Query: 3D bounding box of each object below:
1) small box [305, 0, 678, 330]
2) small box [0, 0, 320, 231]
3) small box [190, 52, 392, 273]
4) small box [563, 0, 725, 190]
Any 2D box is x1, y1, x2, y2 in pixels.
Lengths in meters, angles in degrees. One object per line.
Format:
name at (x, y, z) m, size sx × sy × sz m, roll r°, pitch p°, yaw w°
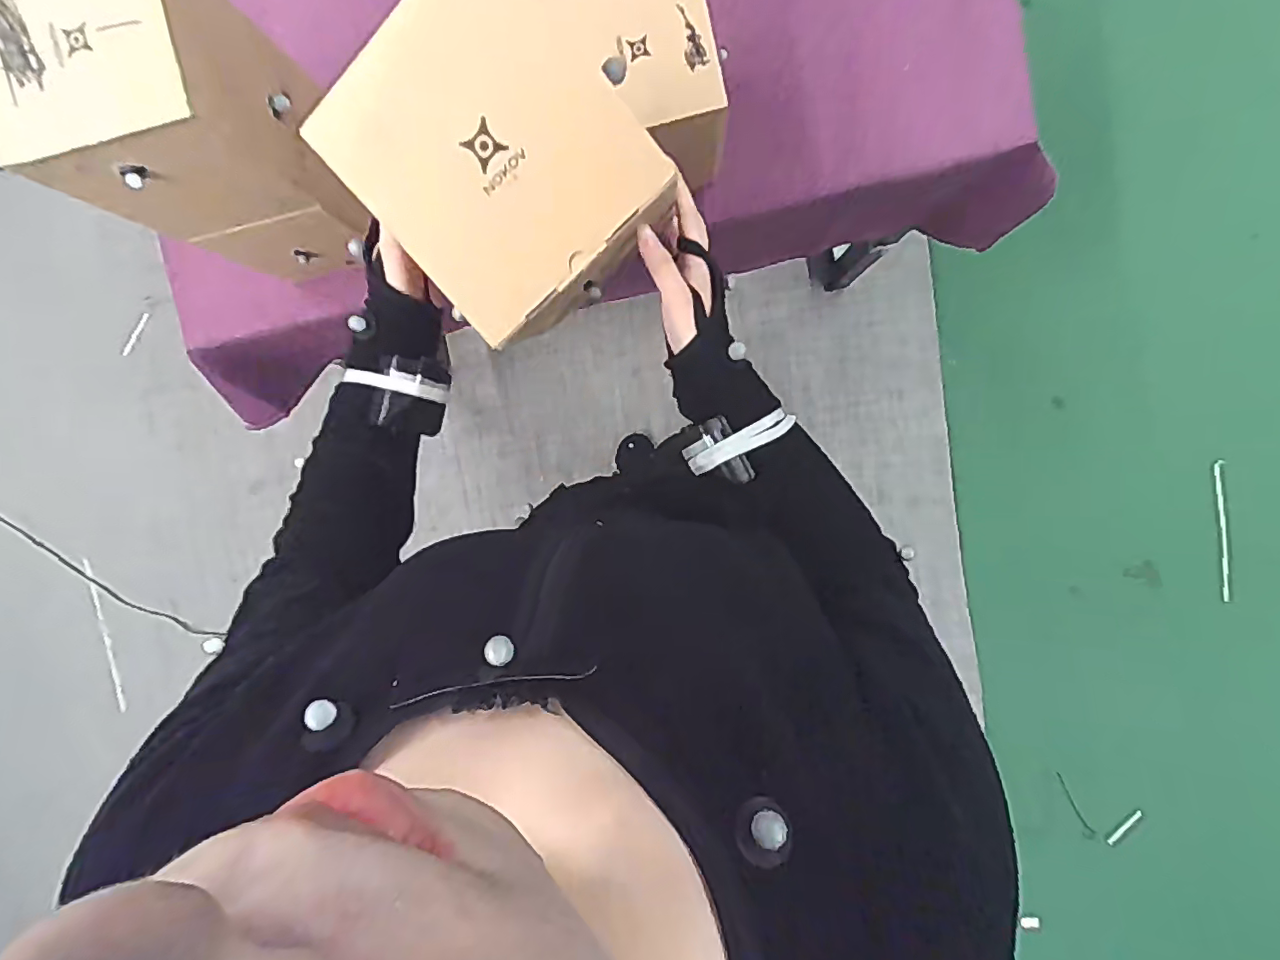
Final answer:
small box at (-0.090, -0.236, 0.410) m, size 0.168 × 0.176 × 0.179 m, roll -38°, pitch 104°, yaw 14°
small box at (-0.454, -0.363, 0.518) m, size 0.179 × 0.176 × 0.168 m, roll -12°, pitch 94°, yaw 4°
small box at (-0.442, -0.378, 0.682) m, size 0.168 × 0.176 × 0.179 m, roll -11°, pitch 93°, yaw 4°
small box at (-0.003, -0.456, 0.645) m, size 0.179 × 0.176 × 0.168 m, roll -12°, pitch 94°, yaw 6°
